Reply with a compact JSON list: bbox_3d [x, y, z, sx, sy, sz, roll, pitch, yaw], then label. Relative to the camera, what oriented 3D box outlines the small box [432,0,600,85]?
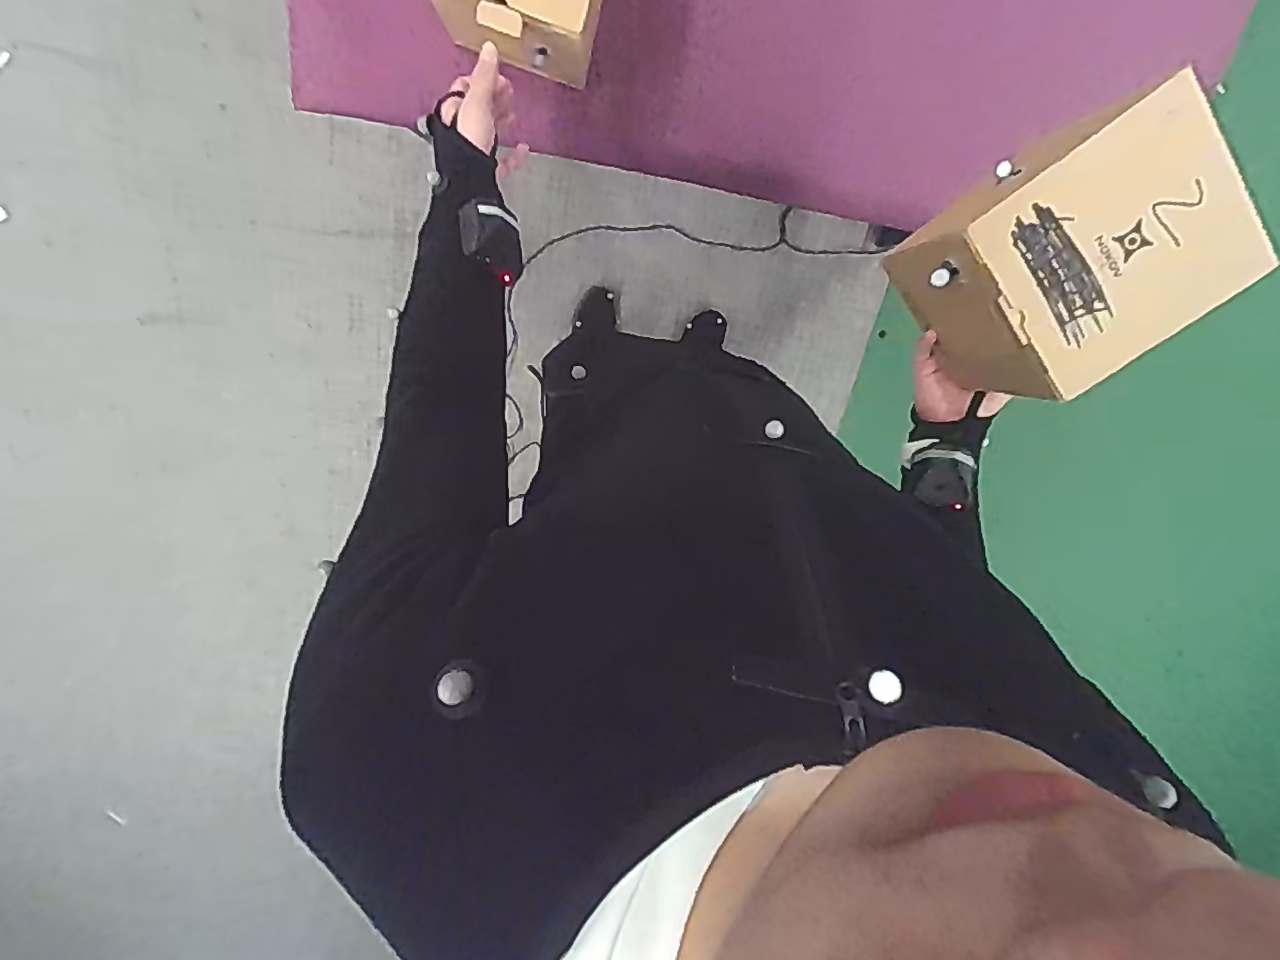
[{"bbox_3d":[-0.123,-0.568,0.579,0.168,0.176,0.179,15,108,-11],"label":"small box"}]
